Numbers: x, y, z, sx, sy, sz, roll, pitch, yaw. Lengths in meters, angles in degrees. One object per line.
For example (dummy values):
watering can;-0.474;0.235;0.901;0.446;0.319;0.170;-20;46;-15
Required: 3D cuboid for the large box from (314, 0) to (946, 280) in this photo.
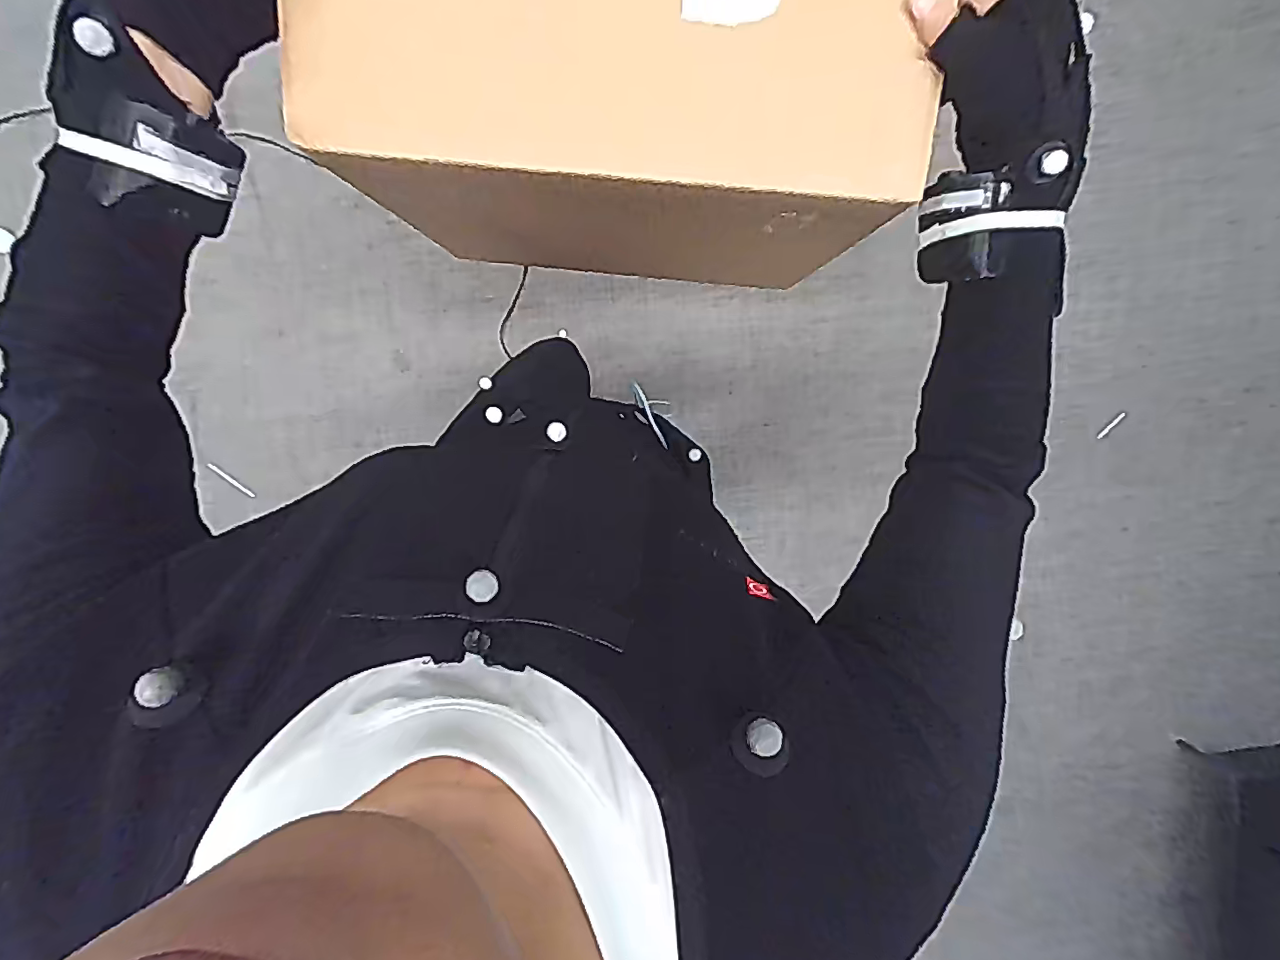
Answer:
large box;-0.003;-0.377;0.478;0.408;0.320;0.320;5;100;-1
